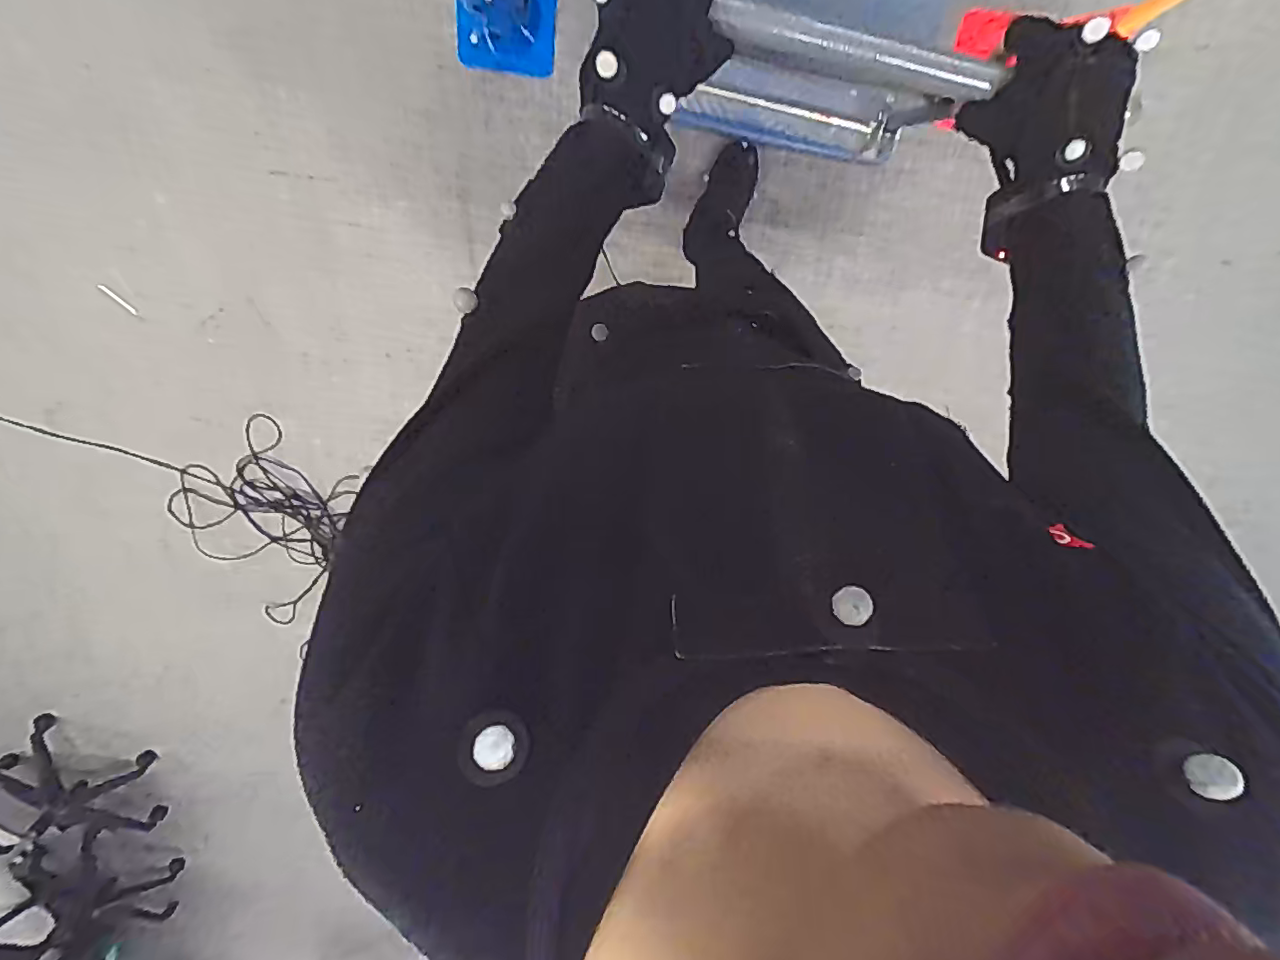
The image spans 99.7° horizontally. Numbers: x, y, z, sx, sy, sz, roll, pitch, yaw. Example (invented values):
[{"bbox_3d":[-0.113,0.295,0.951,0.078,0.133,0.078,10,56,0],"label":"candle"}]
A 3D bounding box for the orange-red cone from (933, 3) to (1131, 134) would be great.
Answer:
[{"bbox_3d":[0.724,-0.771,0.971,0.199,0.360,0.198,8,116,-1],"label":"orange-red cone"}]
